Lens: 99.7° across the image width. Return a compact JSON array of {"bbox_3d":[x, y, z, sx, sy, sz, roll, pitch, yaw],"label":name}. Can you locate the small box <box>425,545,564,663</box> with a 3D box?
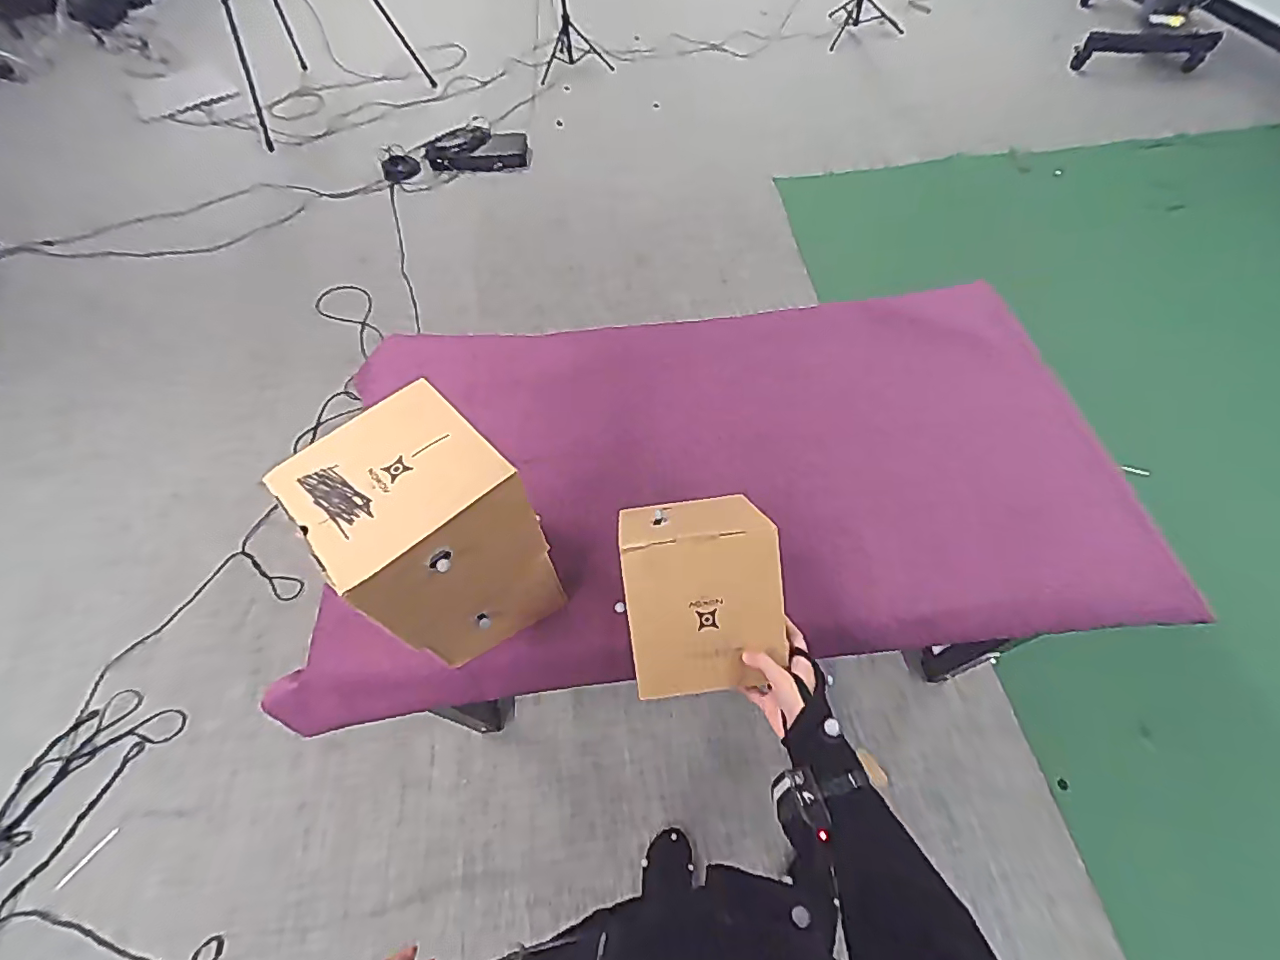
[{"bbox_3d":[-0.219,0.112,0.709,0.179,0.176,0.168,-28,60,-14],"label":"small box"}]

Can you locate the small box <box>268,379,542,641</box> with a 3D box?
[{"bbox_3d":[-0.226,0.036,0.562,0.179,0.176,0.168,-38,63,-21],"label":"small box"}]

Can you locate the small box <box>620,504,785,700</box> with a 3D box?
[{"bbox_3d":[0.065,0.130,0.644,0.168,0.176,0.179,-6,100,0],"label":"small box"}]
